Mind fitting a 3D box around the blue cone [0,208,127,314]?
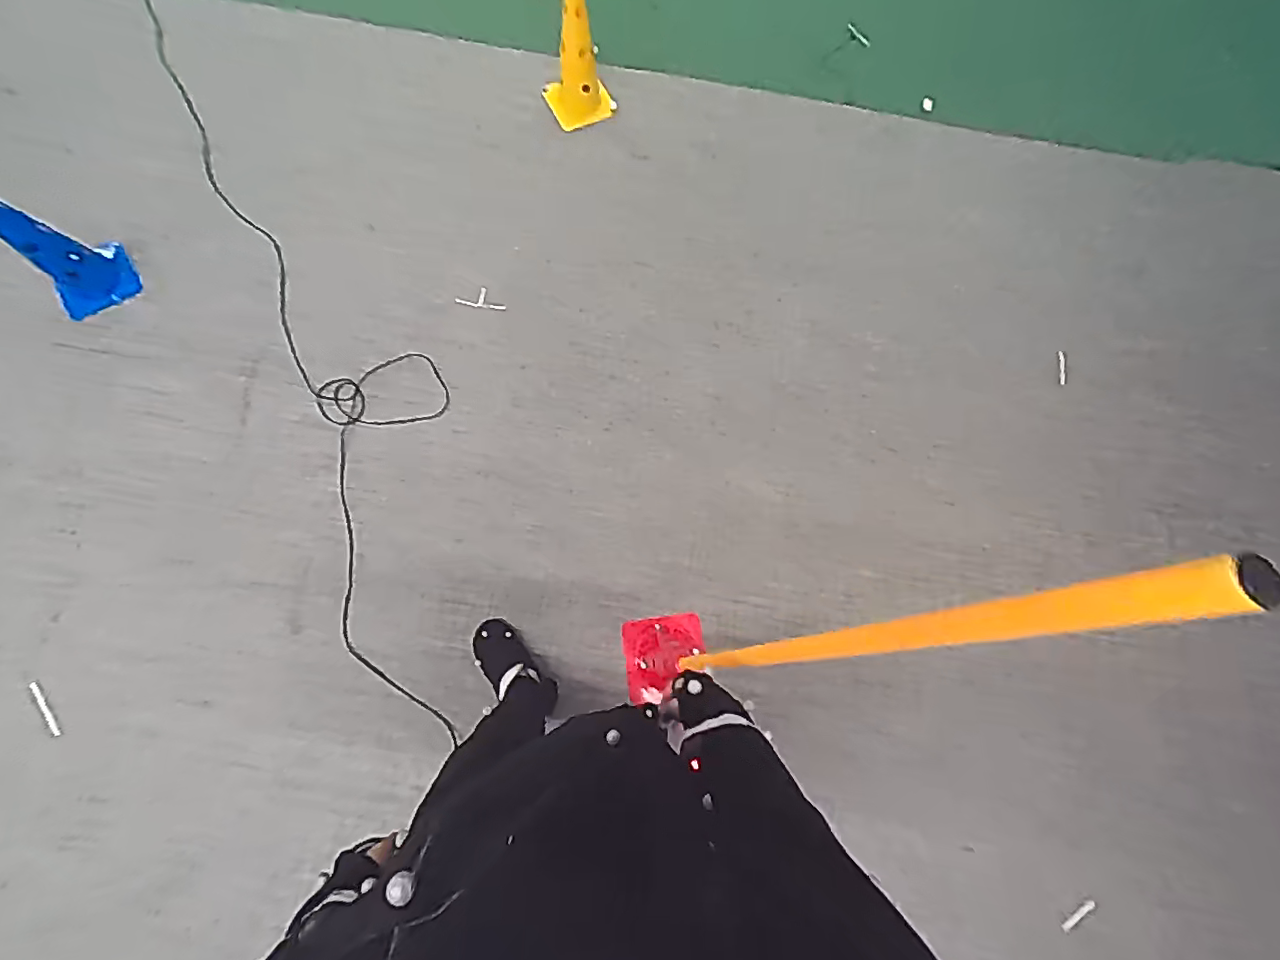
[{"bbox_3d":[-1.527,-0.598,1.332,0.193,0.380,0.192,-34,80,-9],"label":"blue cone"}]
